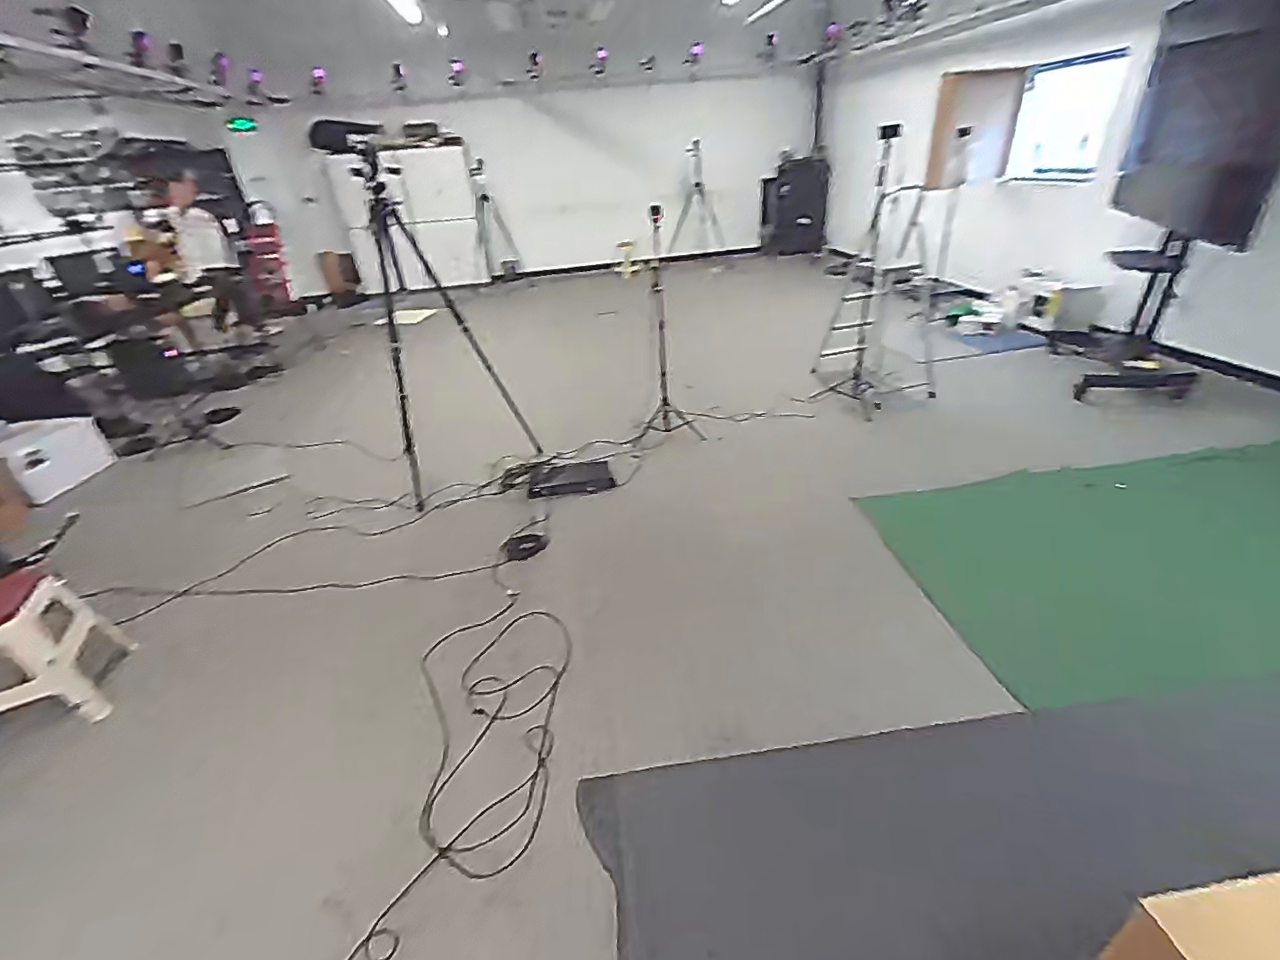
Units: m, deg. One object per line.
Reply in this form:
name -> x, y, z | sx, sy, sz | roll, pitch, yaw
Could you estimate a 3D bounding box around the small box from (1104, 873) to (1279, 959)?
small box -> 0.593, 0.517, 0.506 | 0.168, 0.176, 0.179 | -8, 30, -3
